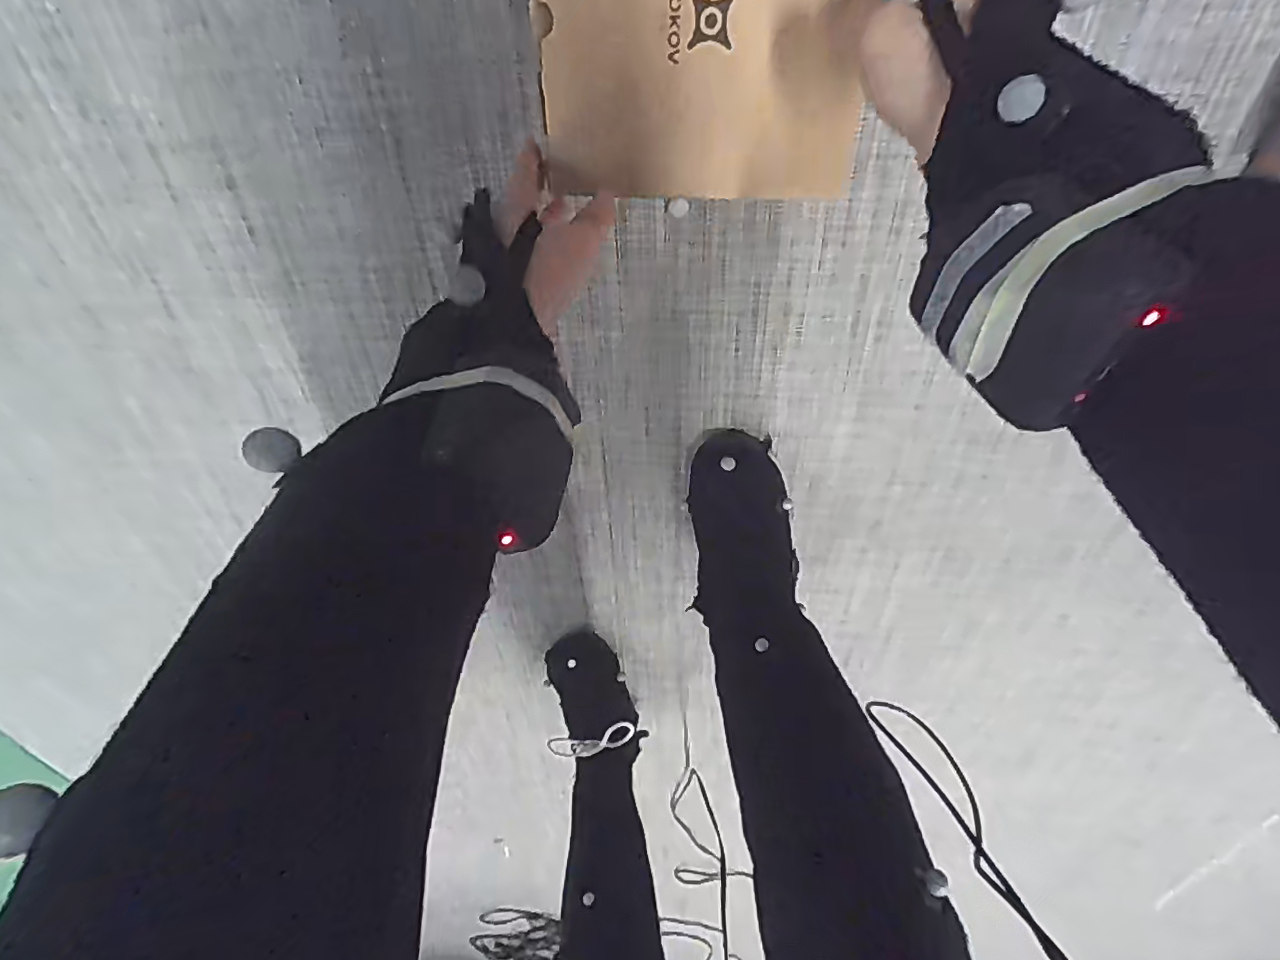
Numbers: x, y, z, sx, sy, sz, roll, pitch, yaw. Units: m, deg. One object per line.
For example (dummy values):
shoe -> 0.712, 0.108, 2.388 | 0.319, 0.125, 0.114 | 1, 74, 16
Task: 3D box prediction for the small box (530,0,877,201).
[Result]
small box -> 0.036, -0.282, 0.337 | 0.179, 0.176, 0.168 | 3, 126, 3
